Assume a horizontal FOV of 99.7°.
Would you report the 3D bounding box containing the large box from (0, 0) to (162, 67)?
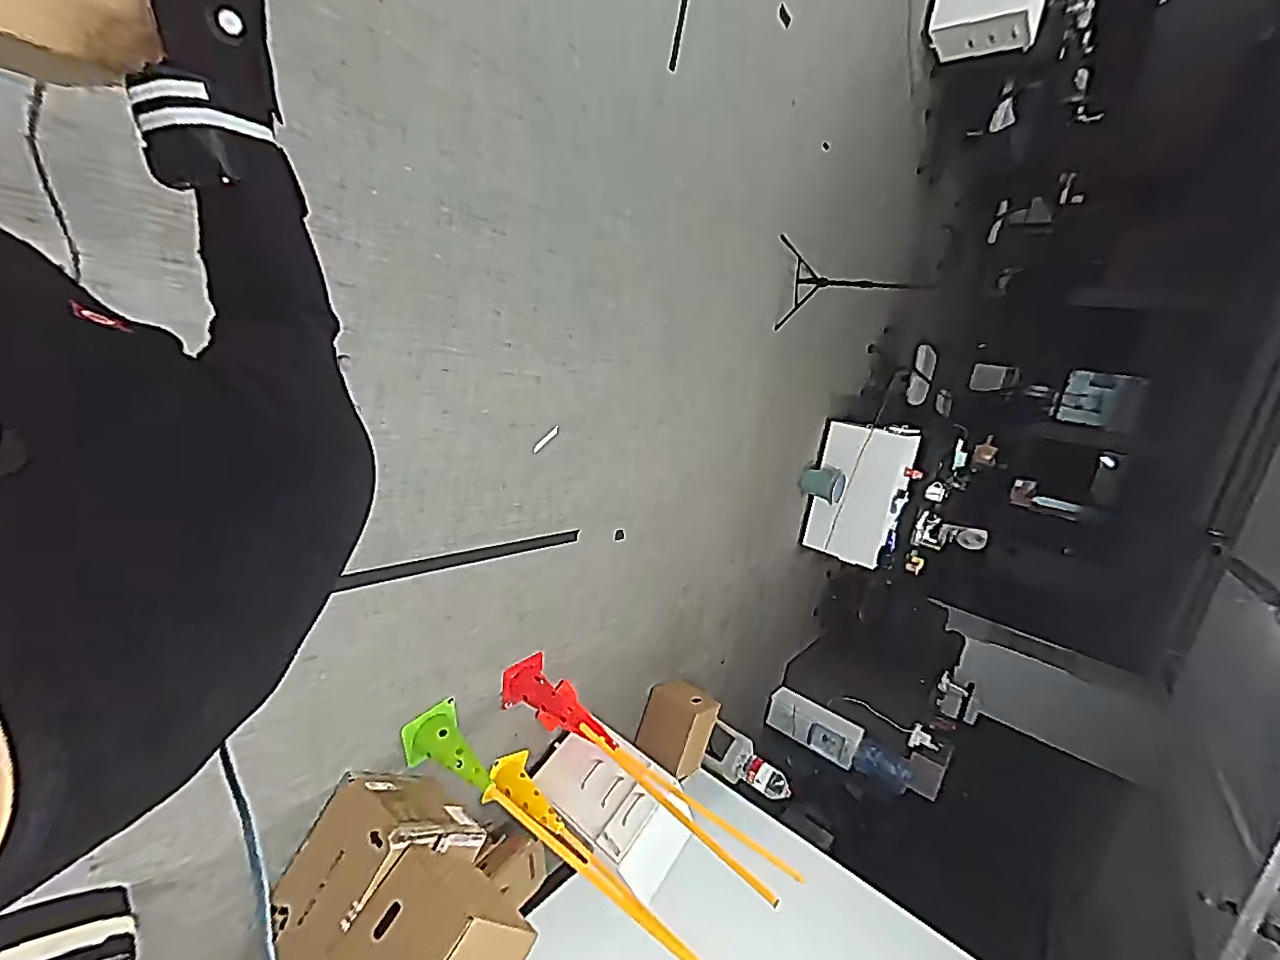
[{"bbox_3d":[-0.545,-0.465,0.258,0.408,0.320,0.320,-13,124,-54],"label":"large box"}]
